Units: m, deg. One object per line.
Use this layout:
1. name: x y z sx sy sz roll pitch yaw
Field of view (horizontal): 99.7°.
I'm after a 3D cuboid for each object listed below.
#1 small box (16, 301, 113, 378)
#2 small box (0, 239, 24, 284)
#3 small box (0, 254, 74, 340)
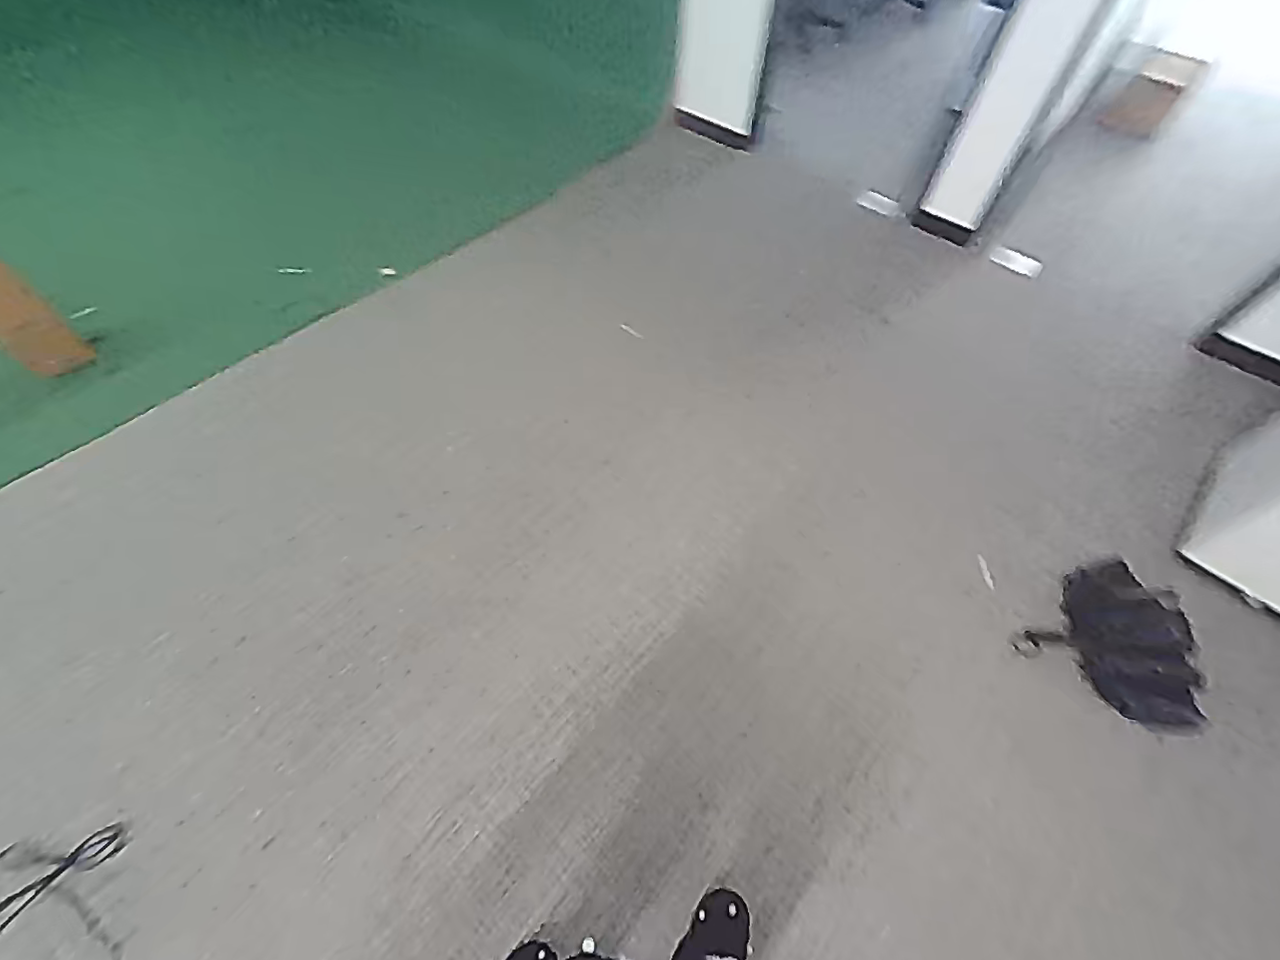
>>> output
1. small box: -1.981 -0.484 1.851 0.179 0.176 0.168 40 65 20
2. small box: -1.983 -0.671 1.581 0.179 0.176 0.168 40 64 23
3. small box: -1.979 -0.579 1.718 0.168 0.176 0.179 -40 65 -23
